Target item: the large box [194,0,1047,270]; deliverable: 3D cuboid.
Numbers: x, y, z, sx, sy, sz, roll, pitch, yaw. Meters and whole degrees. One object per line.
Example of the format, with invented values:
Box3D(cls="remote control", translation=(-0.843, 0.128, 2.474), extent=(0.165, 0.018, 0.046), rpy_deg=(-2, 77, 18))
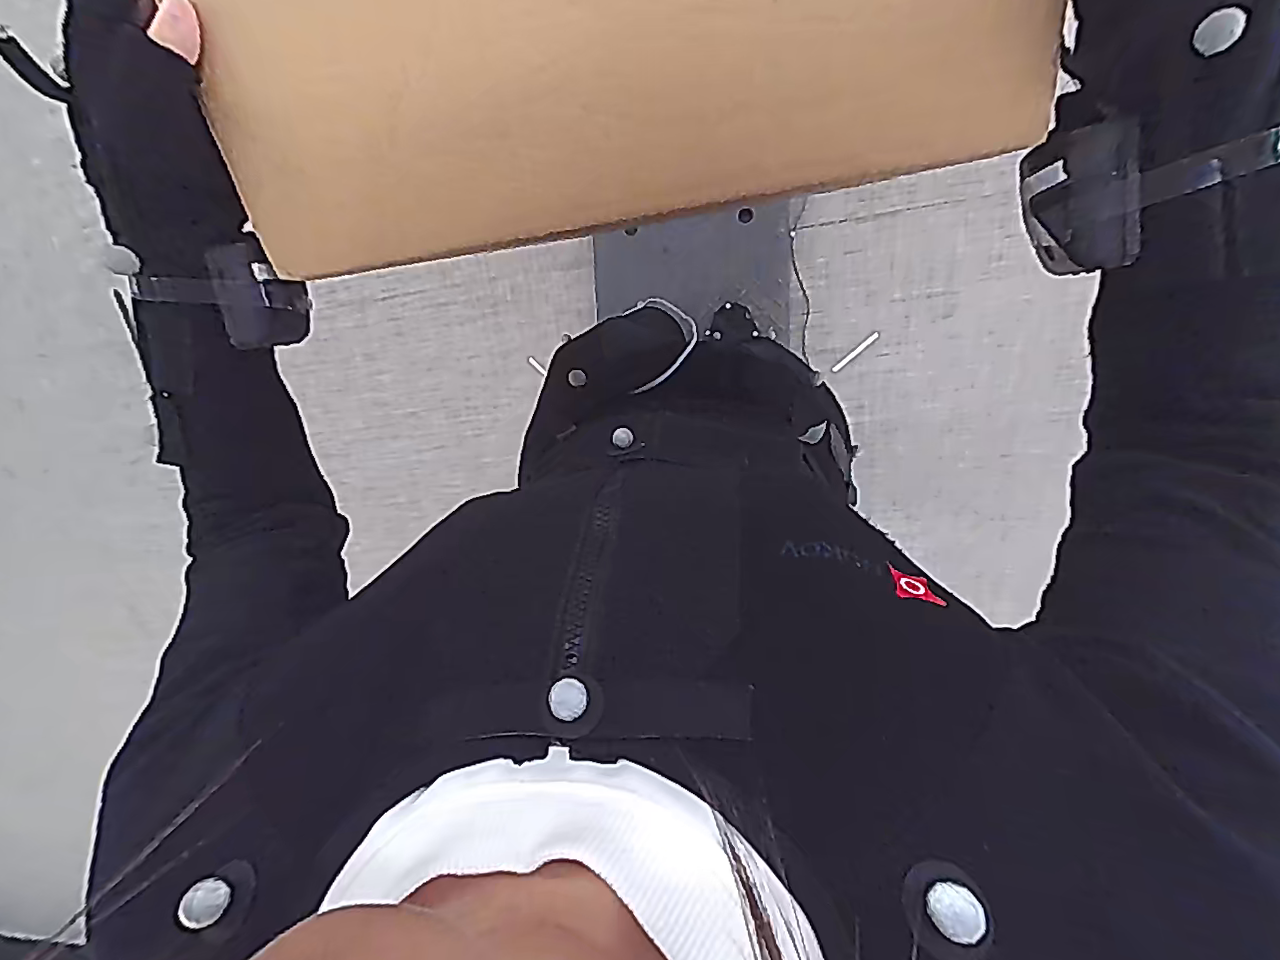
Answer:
Box3D(cls="large box", translation=(-0.017, -0.348, 0.361), extent=(0.408, 0.320, 0.320), rpy_deg=(-5, 116, 12))
